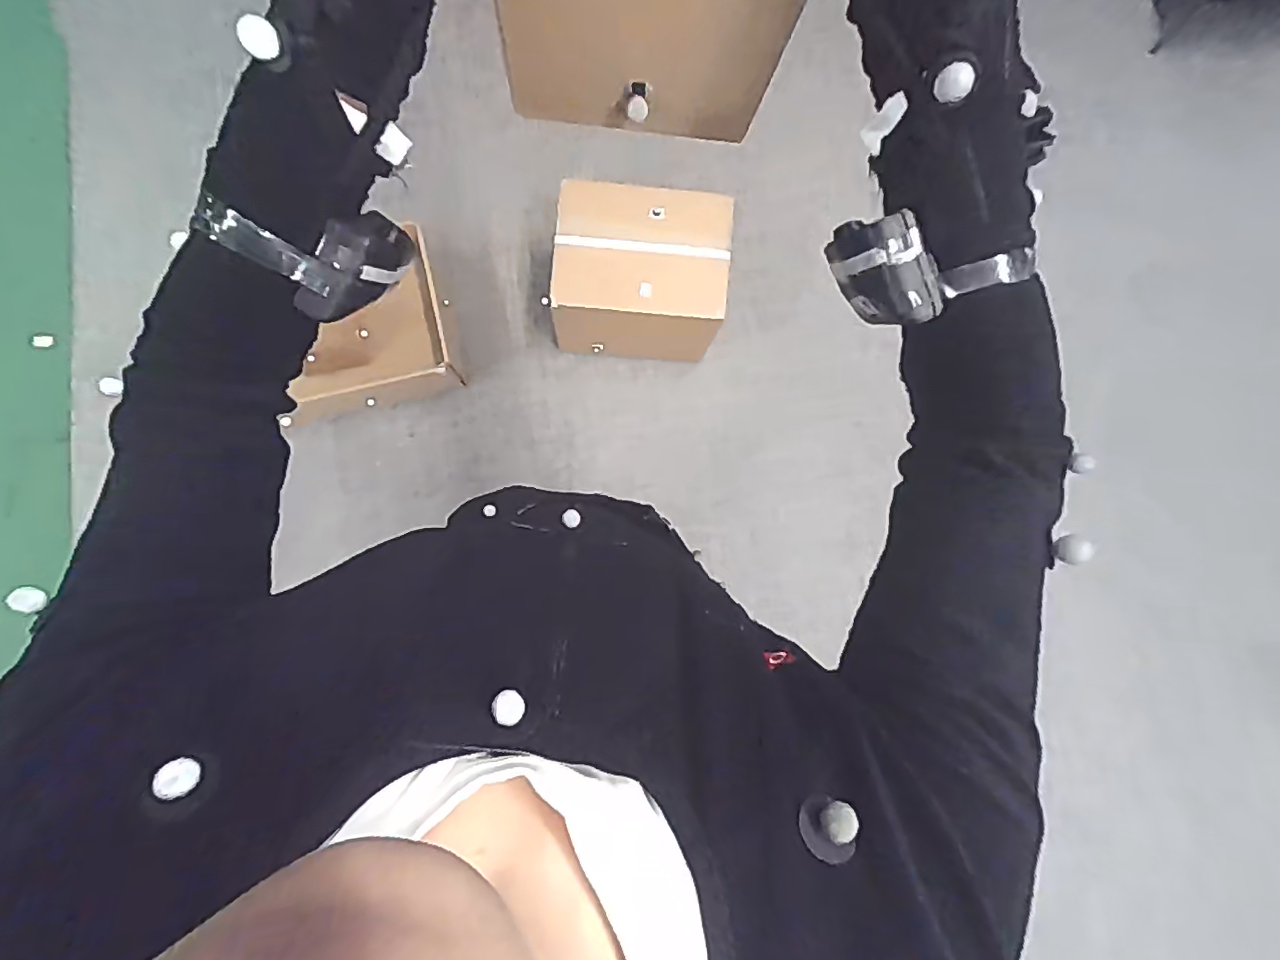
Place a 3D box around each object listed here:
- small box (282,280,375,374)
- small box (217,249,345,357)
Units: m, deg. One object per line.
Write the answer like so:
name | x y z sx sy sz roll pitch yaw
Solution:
small box | -0.806 -0.380 1.373 0.179 0.176 0.168 -12 85 -6
small box | -0.793 -0.387 1.208 0.179 0.176 0.168 -9 84 -5
